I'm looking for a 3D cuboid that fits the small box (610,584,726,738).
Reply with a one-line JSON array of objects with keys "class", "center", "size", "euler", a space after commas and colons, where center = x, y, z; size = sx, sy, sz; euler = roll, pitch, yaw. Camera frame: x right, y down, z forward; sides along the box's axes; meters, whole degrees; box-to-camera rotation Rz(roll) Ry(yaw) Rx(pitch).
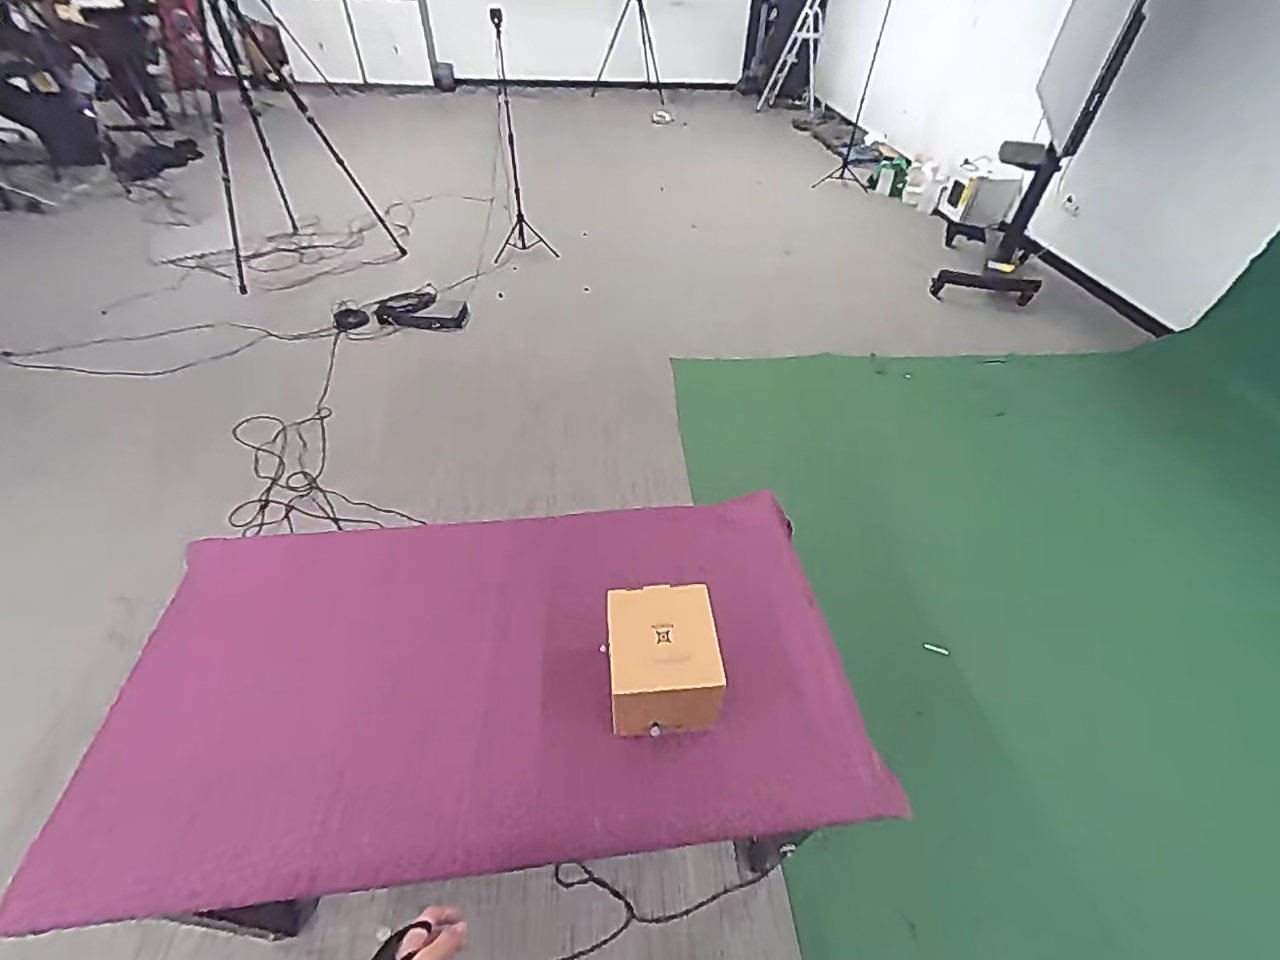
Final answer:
[{"class": "small box", "center": [0.035, 0.292, 0.874], "size": [0.168, 0.176, 0.179], "euler": [-3, 44, -3]}]
